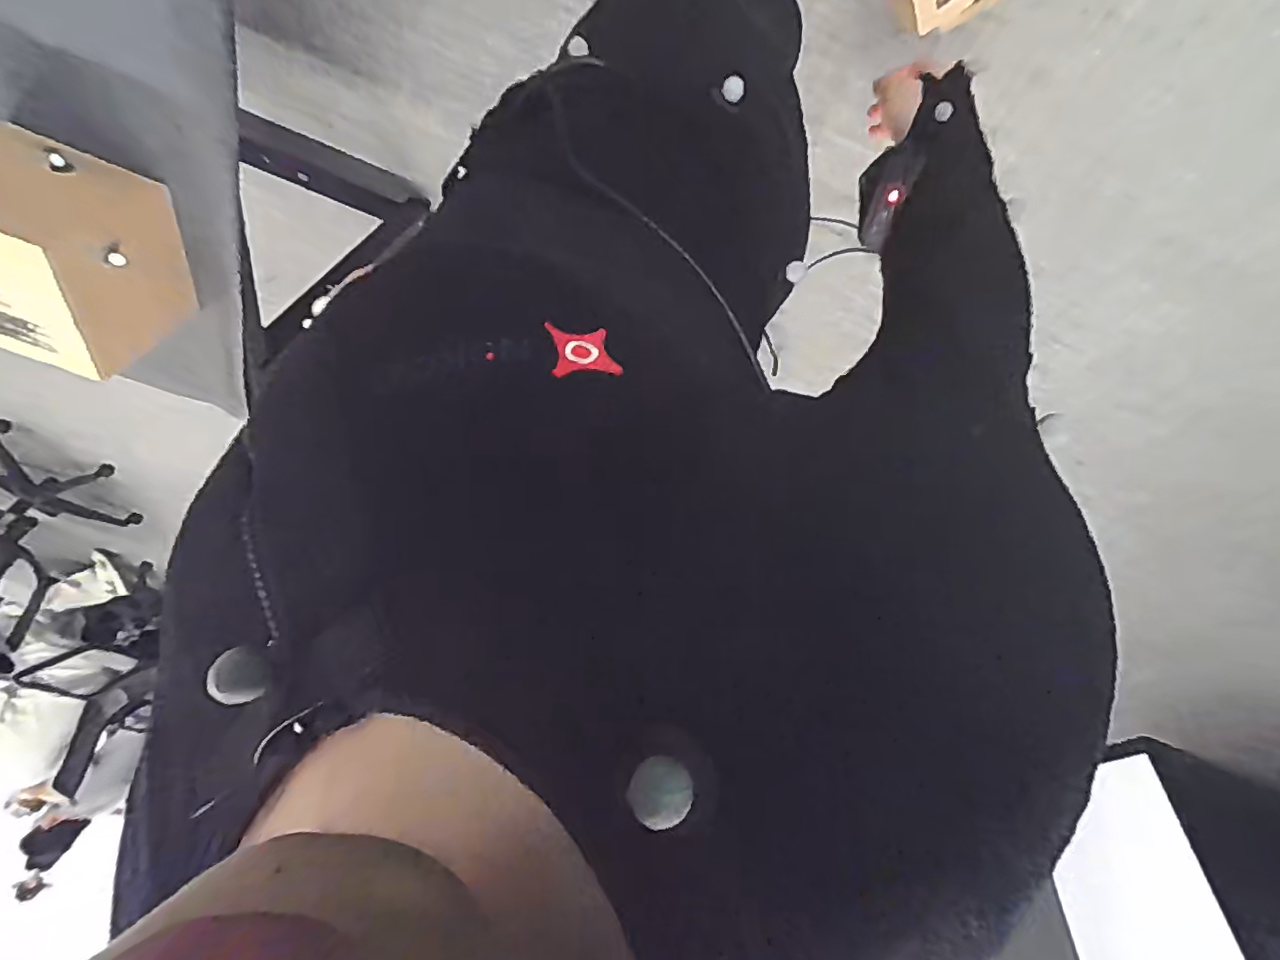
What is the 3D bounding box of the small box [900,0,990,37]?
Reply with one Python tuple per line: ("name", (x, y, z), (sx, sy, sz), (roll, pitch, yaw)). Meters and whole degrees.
("small box", (0.490, -0.840, 0.831), (0.168, 0.176, 0.179), (-17, 130, 27))
